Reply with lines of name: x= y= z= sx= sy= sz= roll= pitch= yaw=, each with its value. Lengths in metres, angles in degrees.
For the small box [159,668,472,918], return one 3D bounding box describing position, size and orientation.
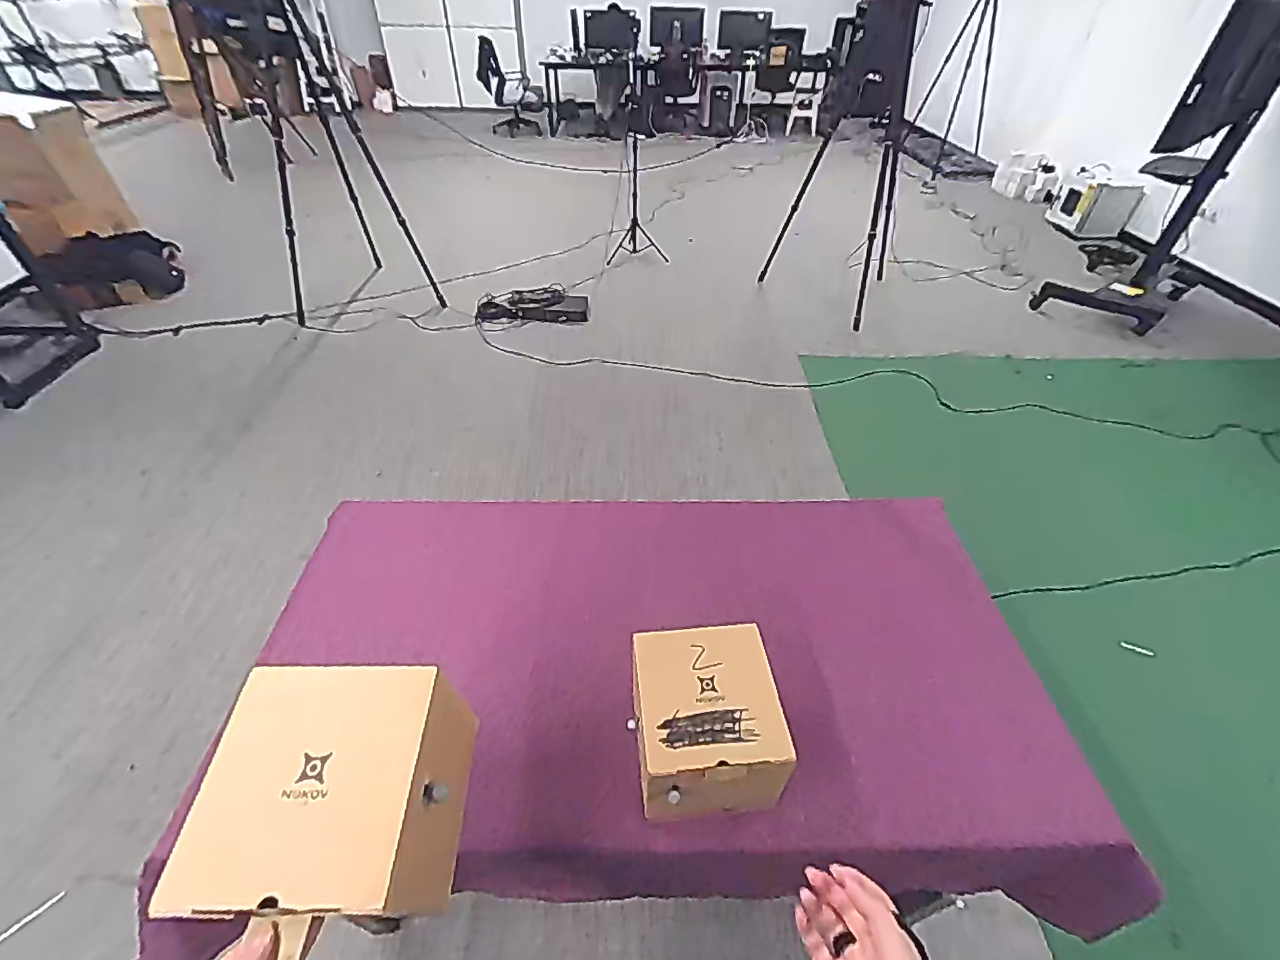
small box: x=-0.263 y=0.290 z=0.498 sx=0.168 sy=0.176 sz=0.179 roll=1 pitch=52 yaw=-1
